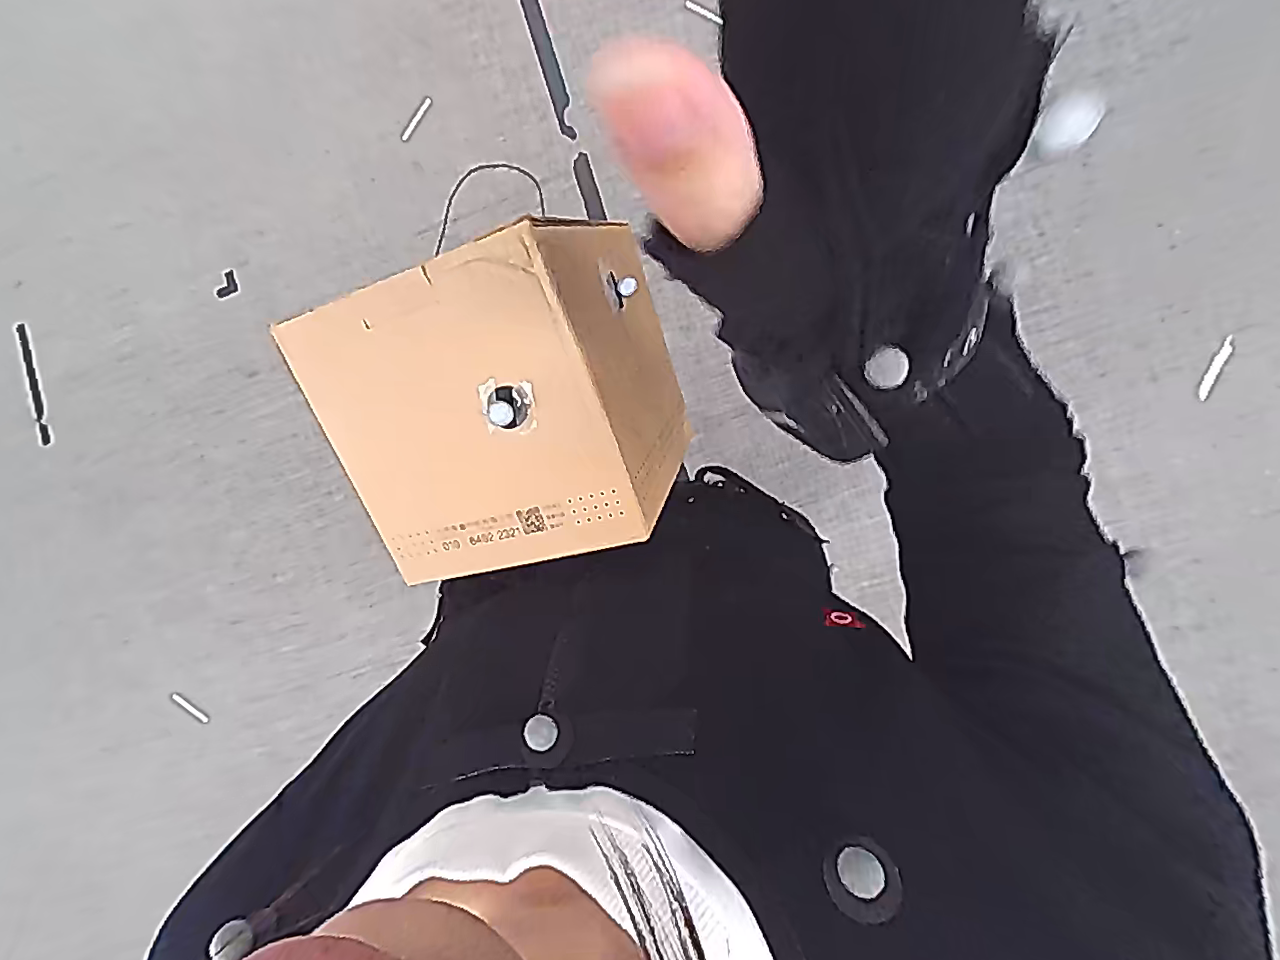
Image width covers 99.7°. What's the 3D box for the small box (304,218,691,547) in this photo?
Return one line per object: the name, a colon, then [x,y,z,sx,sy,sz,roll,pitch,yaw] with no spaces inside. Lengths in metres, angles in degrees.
small box: [-0.073,-0.064,0.378,0.168,0.179,0.176,-12,110,20]
